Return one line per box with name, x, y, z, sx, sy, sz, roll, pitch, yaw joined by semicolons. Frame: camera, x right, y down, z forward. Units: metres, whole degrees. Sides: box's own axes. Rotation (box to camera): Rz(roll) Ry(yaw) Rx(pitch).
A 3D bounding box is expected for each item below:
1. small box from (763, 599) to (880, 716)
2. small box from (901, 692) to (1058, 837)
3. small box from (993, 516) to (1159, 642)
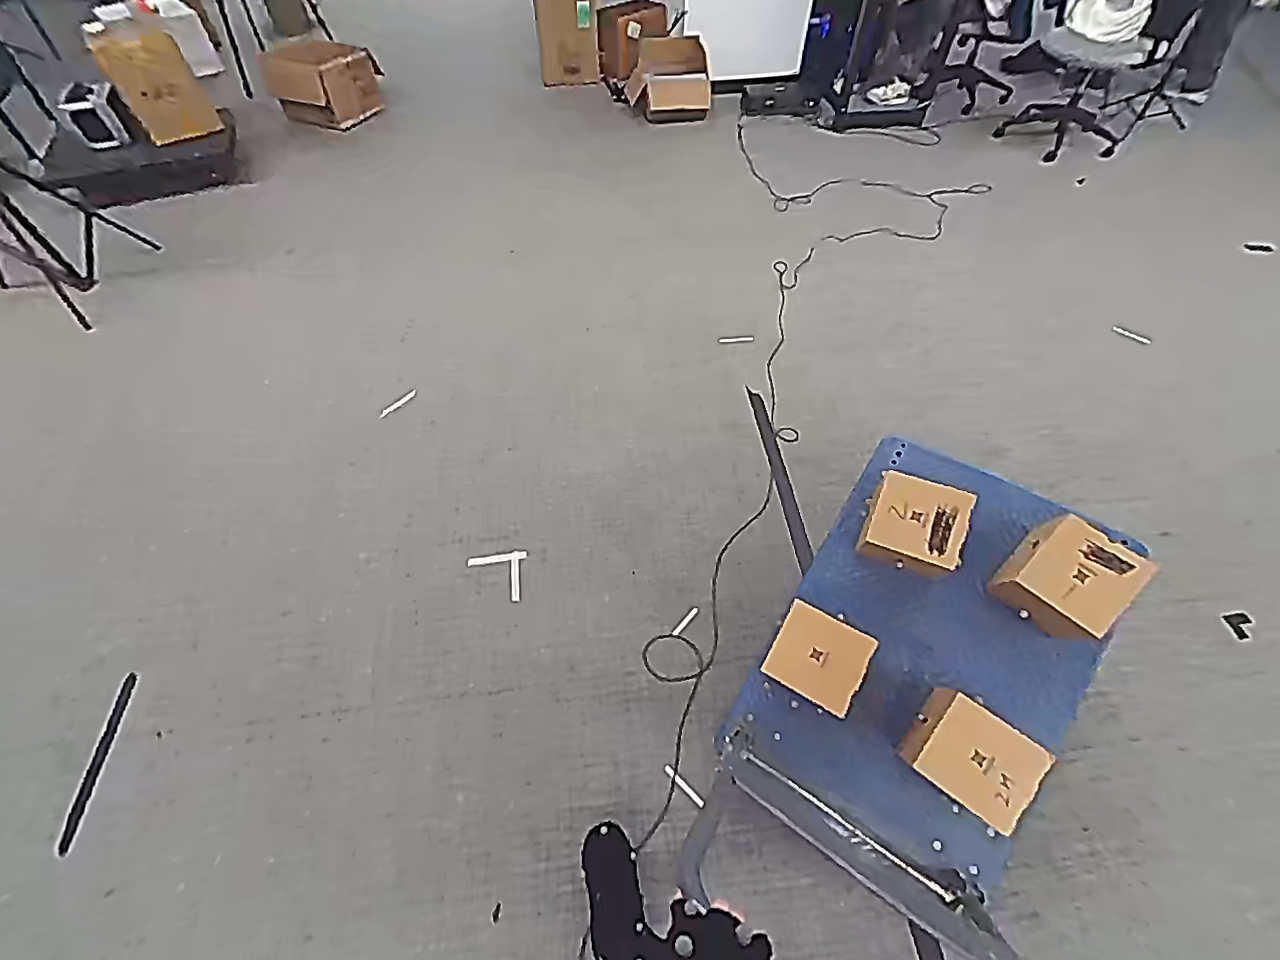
small box;0.376;0.374;1.147;0.179;0.176;0.168;27;80;19
small box;0.630;0.527;1.031;0.179;0.176;0.168;34;84;22
small box;0.853;0.202;1.081;0.168;0.176;0.179;41;87;22
